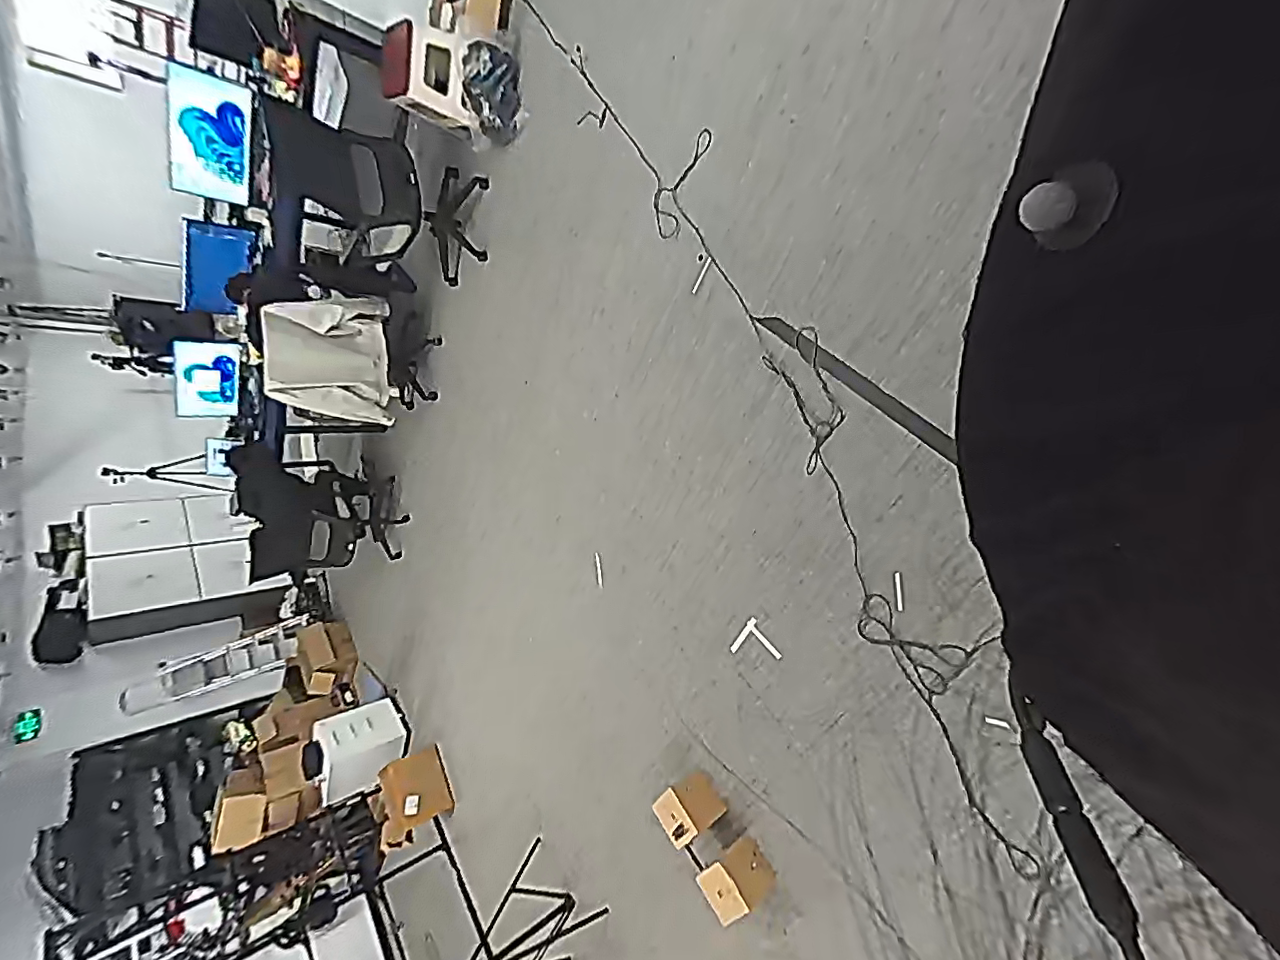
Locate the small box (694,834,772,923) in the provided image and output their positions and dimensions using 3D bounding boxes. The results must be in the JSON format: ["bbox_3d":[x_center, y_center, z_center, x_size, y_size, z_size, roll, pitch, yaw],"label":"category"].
[{"bbox_3d":[0.331,1.401,1.907,0.168,0.176,0.179,50,127,29],"label":"small box"}]
